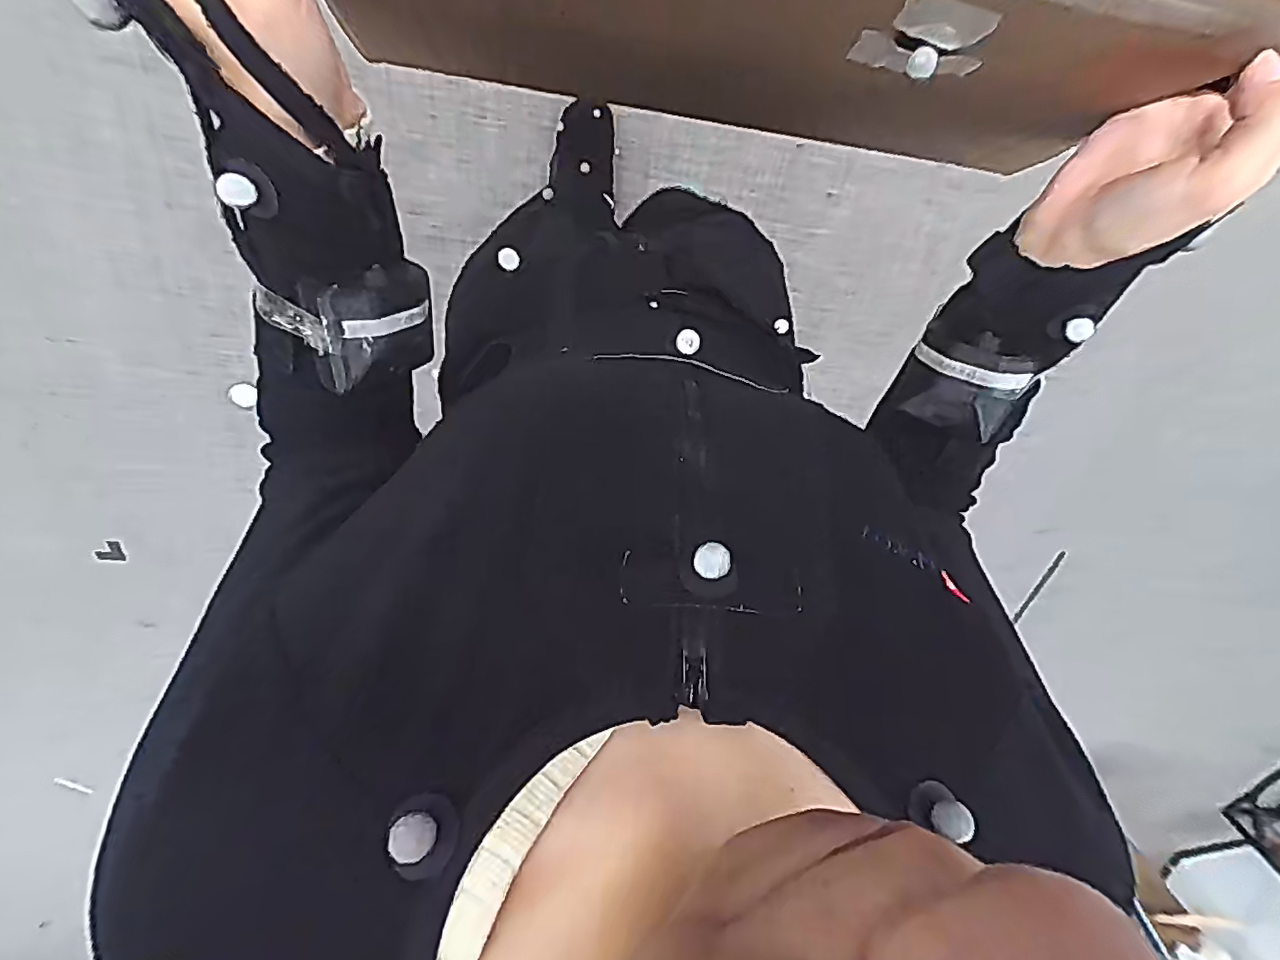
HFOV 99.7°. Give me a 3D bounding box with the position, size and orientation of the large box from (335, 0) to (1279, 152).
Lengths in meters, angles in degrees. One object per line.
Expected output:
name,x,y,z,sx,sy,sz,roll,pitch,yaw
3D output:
large box,0.072,-0.348,0.156,0.408,0.320,0.320,4,101,-8
